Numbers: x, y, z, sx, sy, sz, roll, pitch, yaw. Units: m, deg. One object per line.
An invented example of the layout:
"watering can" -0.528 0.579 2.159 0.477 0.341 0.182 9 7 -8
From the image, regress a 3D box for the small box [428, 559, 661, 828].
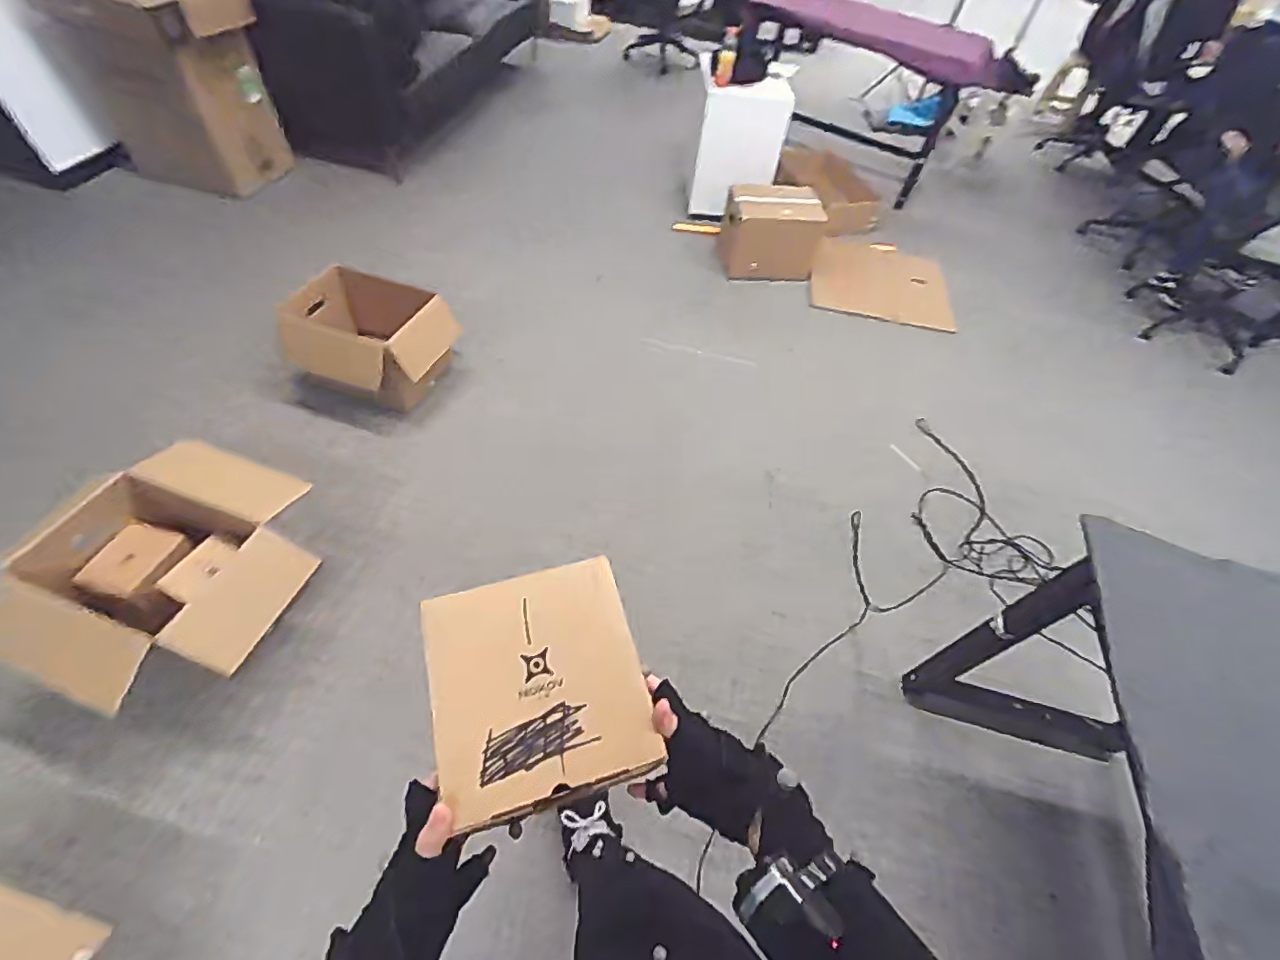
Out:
"small box" -0.088 0.201 0.508 0.168 0.176 0.179 -12 60 -13
